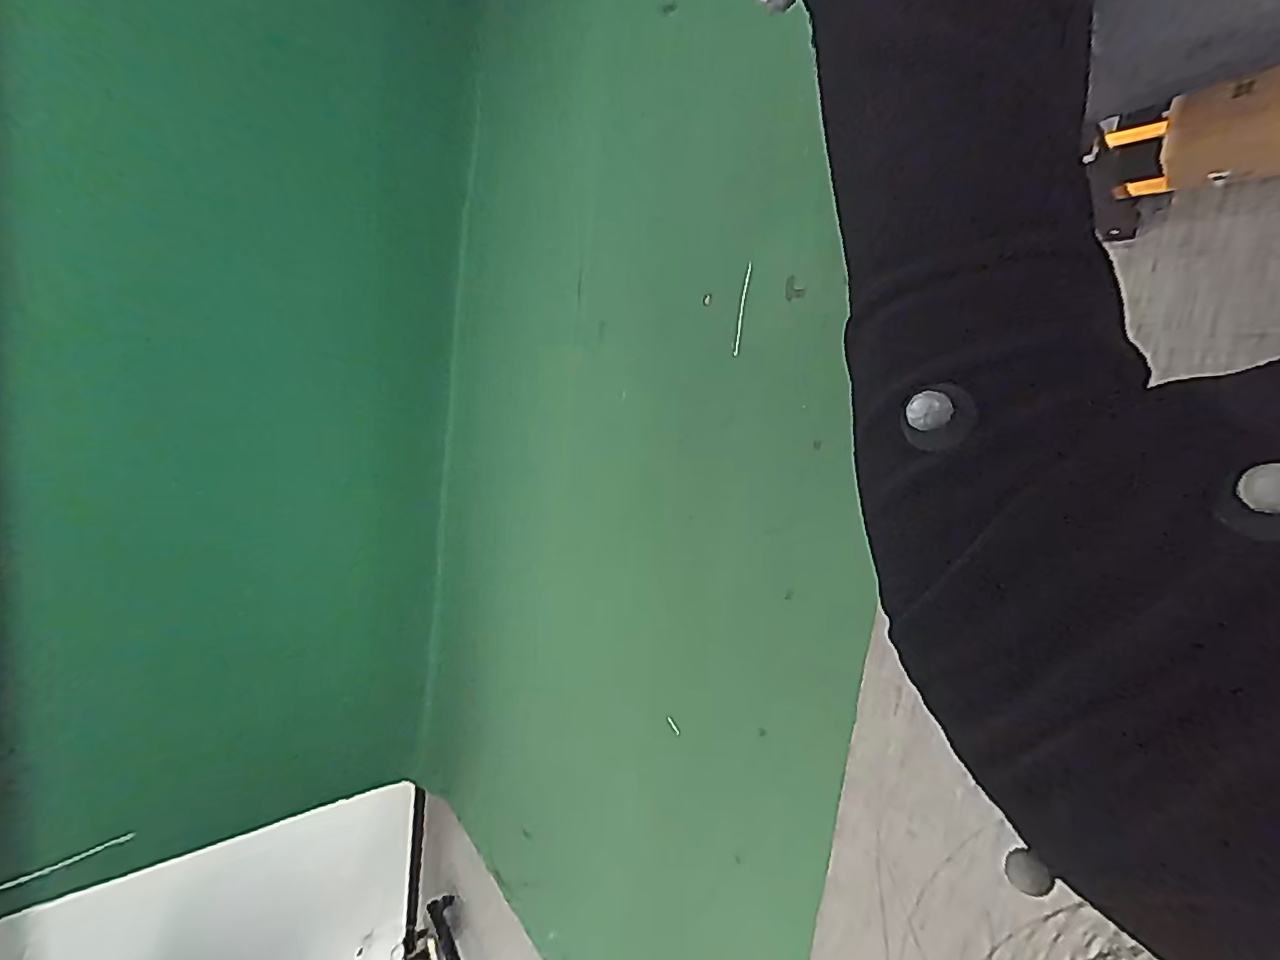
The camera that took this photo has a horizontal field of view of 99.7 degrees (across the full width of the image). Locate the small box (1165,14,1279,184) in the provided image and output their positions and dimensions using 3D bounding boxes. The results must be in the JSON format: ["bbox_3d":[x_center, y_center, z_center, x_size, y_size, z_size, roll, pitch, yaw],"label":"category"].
[{"bbox_3d":[1.010,-0.627,0.898,0.168,0.176,0.179,14,103,48],"label":"small box"}]
